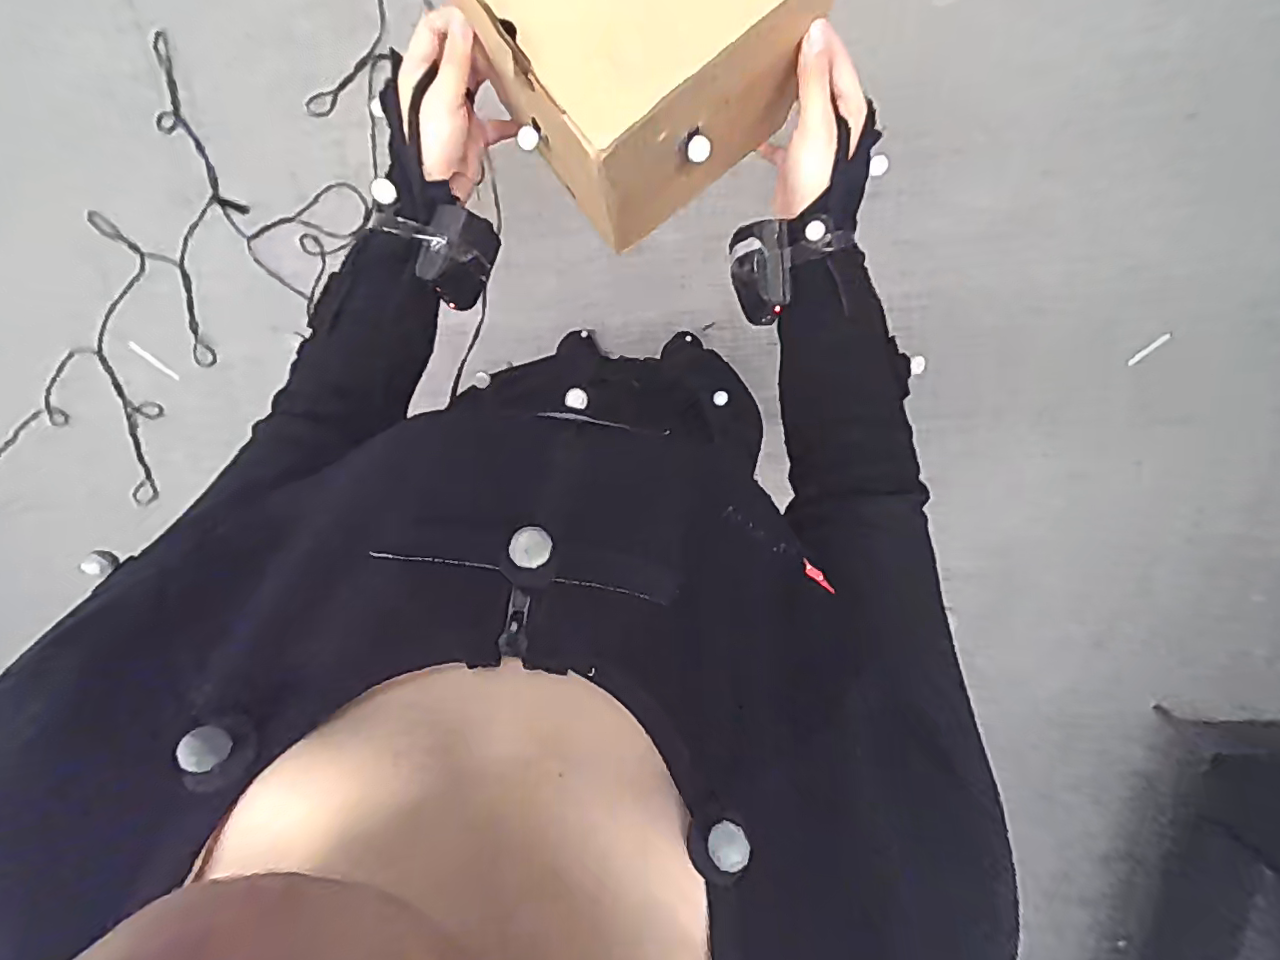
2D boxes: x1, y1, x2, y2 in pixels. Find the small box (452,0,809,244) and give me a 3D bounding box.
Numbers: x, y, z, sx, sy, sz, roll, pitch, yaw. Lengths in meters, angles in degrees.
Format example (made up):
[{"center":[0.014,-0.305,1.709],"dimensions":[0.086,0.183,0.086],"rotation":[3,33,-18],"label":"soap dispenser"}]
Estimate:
[{"center":[-0.004,-0.301,0.373],"dimensions":[0.179,0.176,0.168],"rotation":[-38,92,5],"label":"small box"}]
